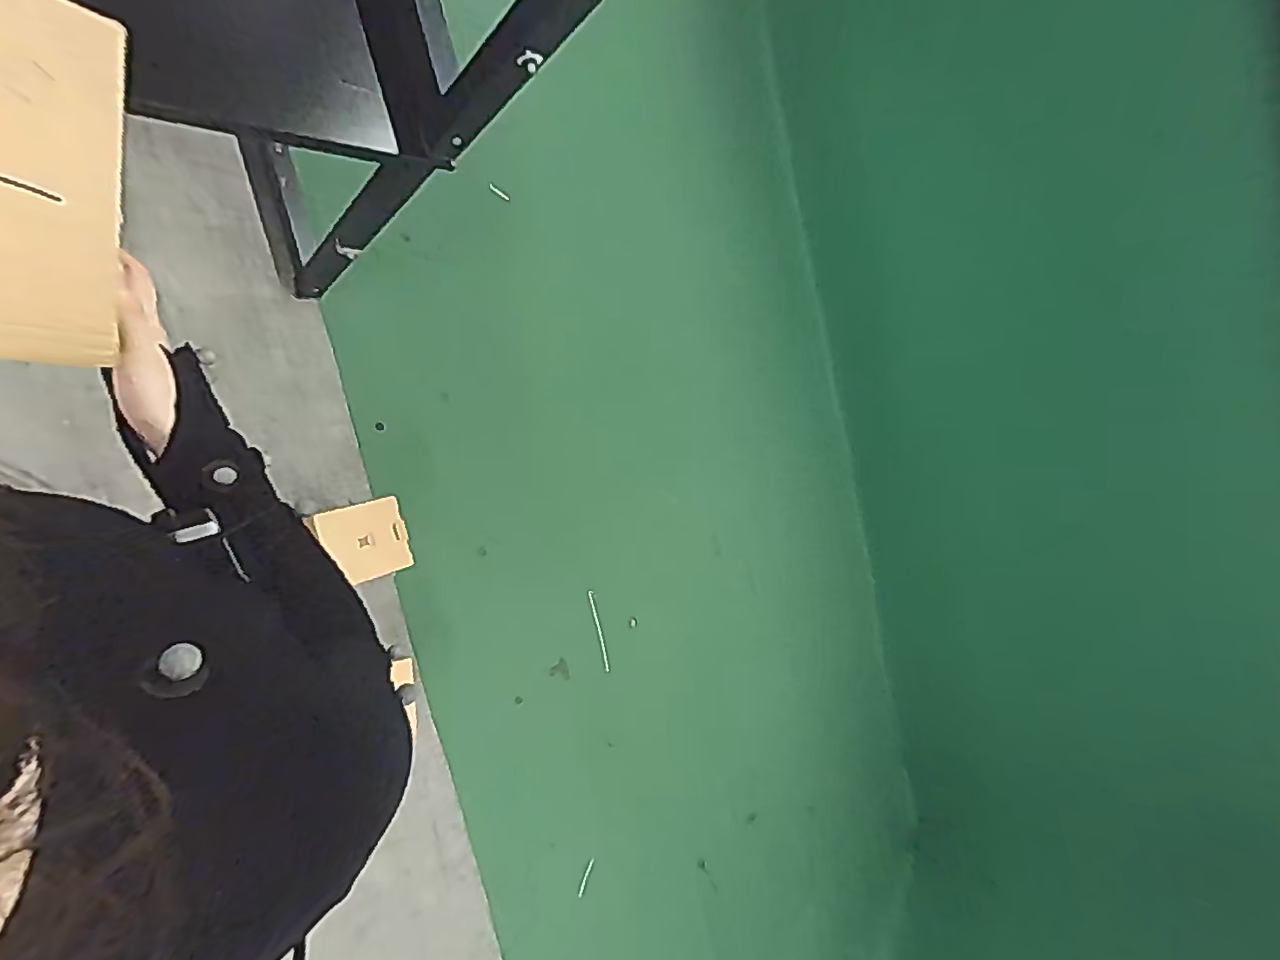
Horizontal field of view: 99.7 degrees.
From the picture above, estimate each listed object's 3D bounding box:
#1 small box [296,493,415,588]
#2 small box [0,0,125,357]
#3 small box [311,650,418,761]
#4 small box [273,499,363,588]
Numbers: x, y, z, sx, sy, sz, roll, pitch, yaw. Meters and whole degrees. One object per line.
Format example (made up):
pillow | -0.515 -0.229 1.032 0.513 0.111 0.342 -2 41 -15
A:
small box | -0.641 0.134 1.207 0.179 0.176 0.168 -20 98 -47
small box | -0.367 -0.164 0.240 0.179 0.176 0.168 -4 114 -53
small box | -0.609 0.481 1.188 0.168 0.176 0.179 -3 87 -45
small box | -0.763 0.154 1.313 0.179 0.176 0.168 -21 100 -46
